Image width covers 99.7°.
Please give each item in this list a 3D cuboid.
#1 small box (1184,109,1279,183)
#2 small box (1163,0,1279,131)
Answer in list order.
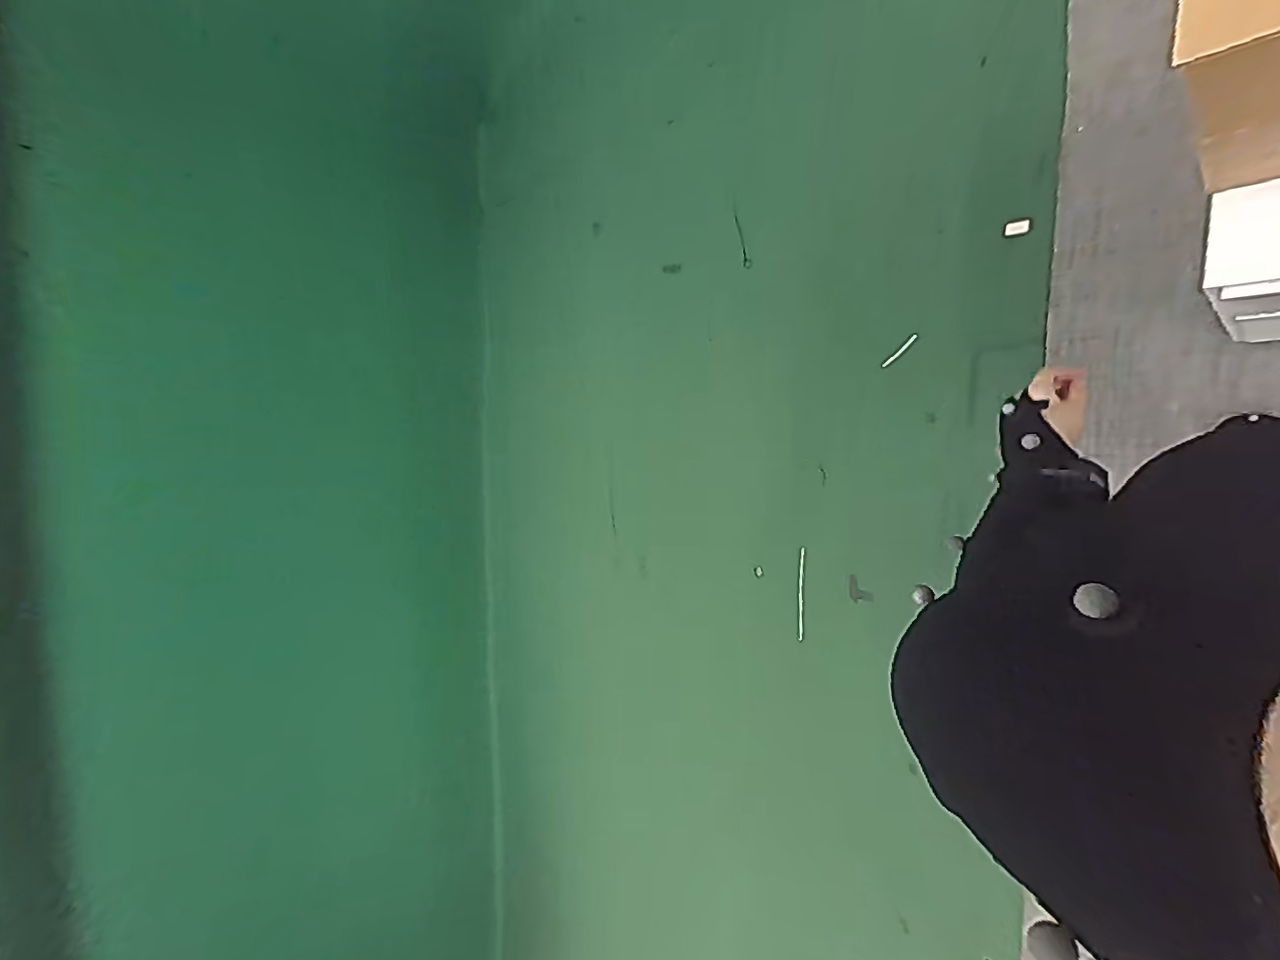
[{"bbox_3d":[0.673,-0.422,0.530,0.179,0.176,0.168,5,98,49],"label":"small box"},{"bbox_3d":[0.549,-0.414,0.424,0.179,0.176,0.168,8,99,47],"label":"small box"}]
